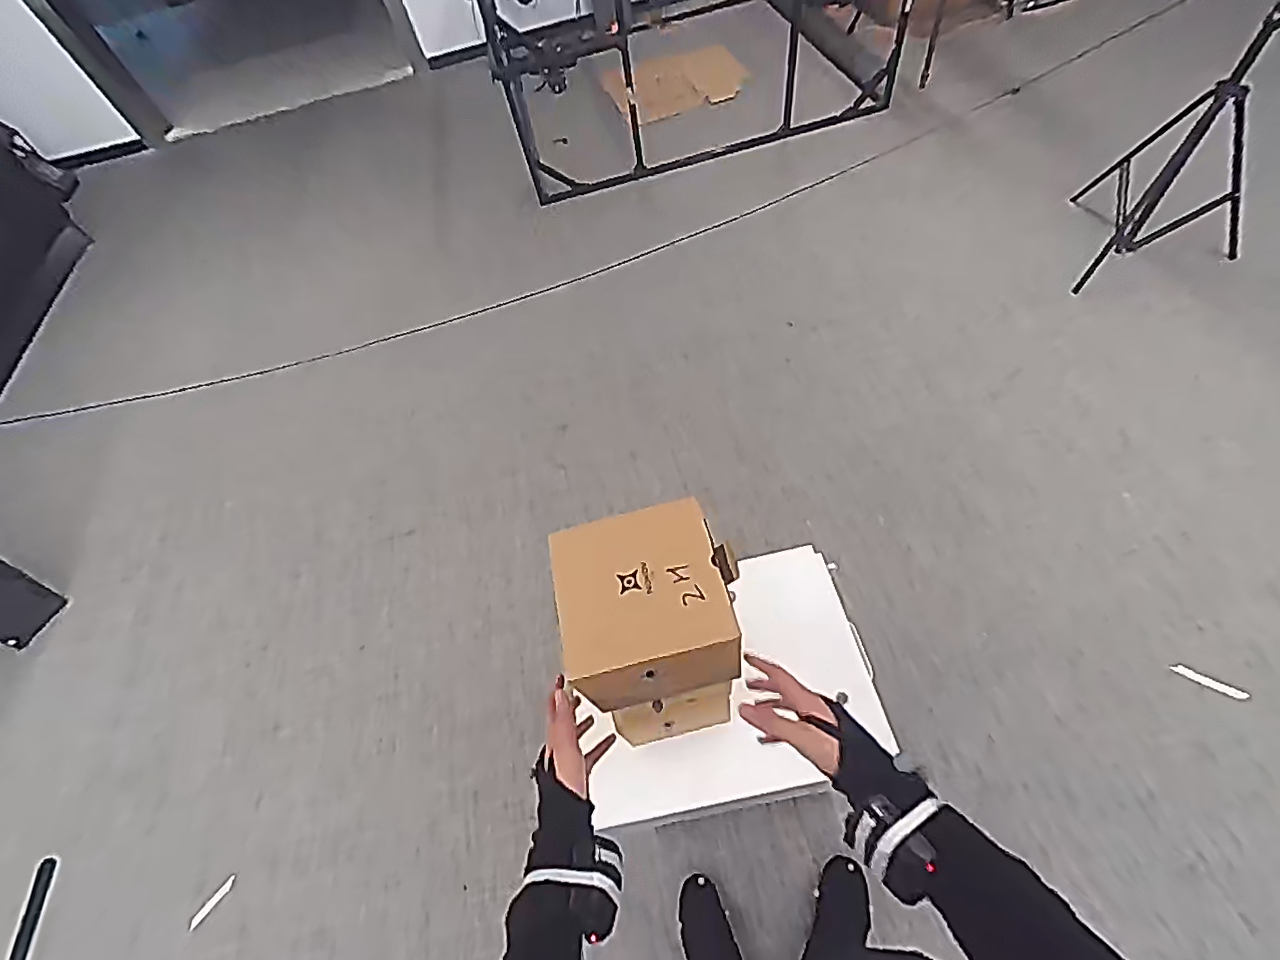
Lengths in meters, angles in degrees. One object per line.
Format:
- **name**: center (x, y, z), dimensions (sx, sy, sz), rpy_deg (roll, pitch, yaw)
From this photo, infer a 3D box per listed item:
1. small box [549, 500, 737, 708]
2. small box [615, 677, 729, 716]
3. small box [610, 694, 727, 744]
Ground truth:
- **small box**: center (0.009, 0.151, 0.628), dimensions (0.179, 0.176, 0.168), rpy_deg (-14, 56, 0)
- **small box**: center (0.027, 0.226, 0.775), dimensions (0.168, 0.176, 0.179), rpy_deg (-14, 55, 0)
- **small box**: center (0.041, 0.327, 0.902), dimensions (0.179, 0.176, 0.168), rpy_deg (-14, 56, -1)
